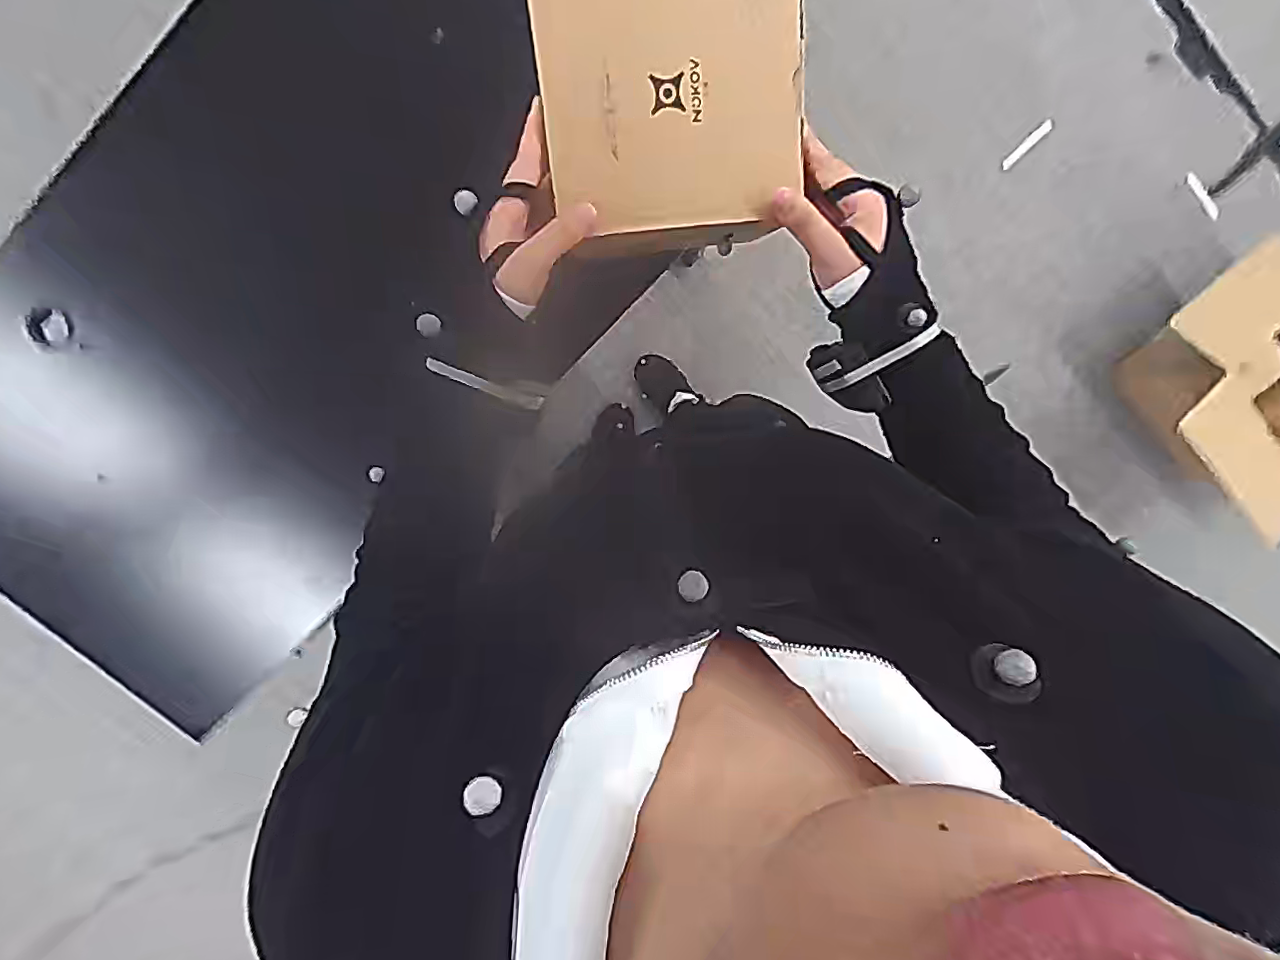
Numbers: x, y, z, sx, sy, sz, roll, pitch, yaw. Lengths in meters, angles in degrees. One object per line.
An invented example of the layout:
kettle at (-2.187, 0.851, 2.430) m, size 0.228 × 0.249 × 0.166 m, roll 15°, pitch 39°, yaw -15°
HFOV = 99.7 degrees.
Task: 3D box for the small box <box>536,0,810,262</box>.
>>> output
small box at (0.024, -0.277, 0.435) m, size 0.179 × 0.176 × 0.168 m, roll -6°, pitch 107°, yaw 1°
